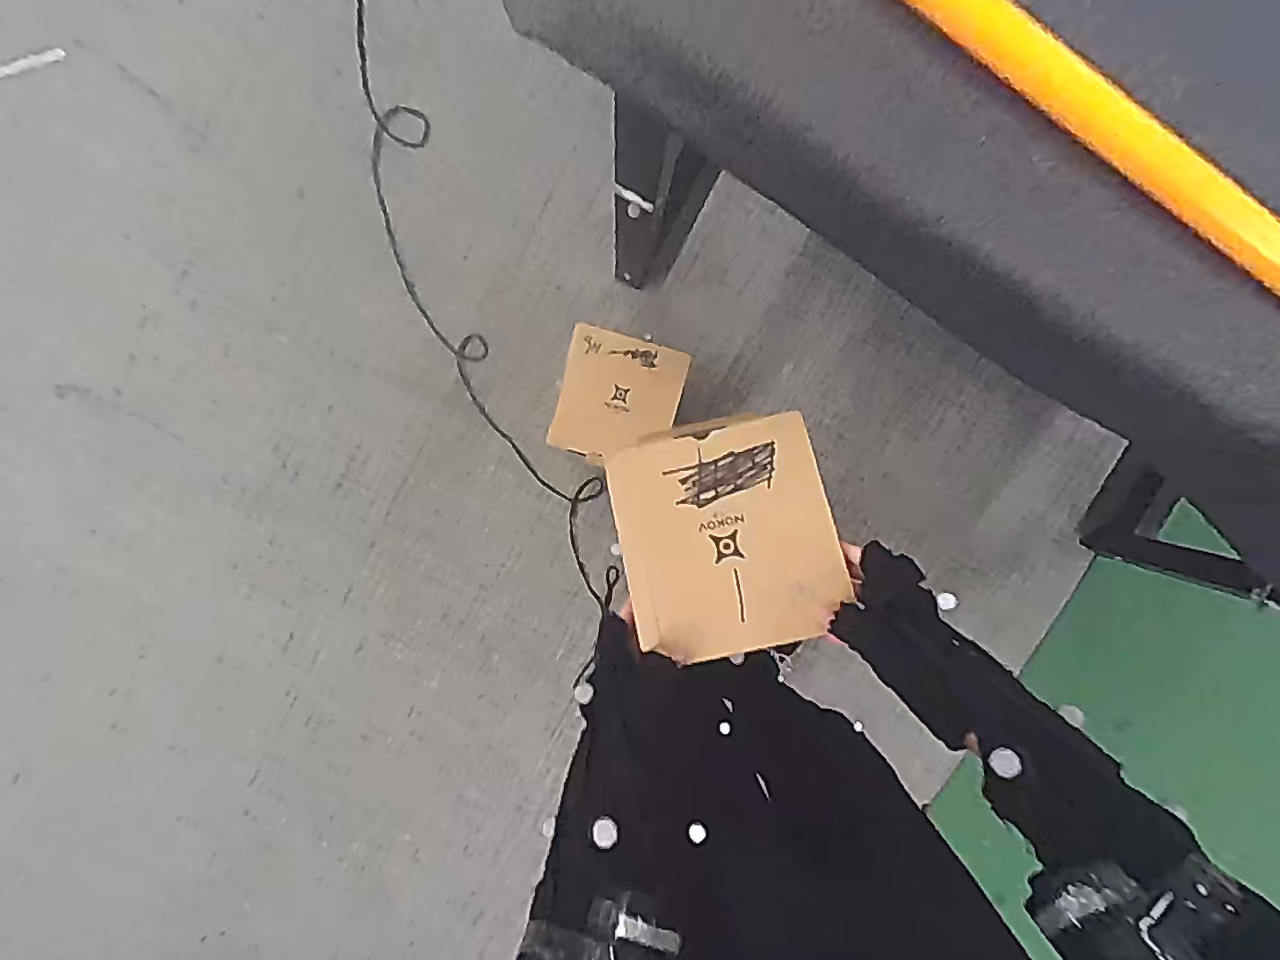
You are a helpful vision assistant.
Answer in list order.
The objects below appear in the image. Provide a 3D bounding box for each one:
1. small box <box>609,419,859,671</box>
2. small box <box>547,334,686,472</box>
[{"bbox_3d":[0.074,0.066,0.501,0.168,0.176,0.179,-13,76,3],"label":"small box"},{"bbox_3d":[-0.033,-0.107,0.826,0.168,0.176,0.179,13,96,-2],"label":"small box"}]
